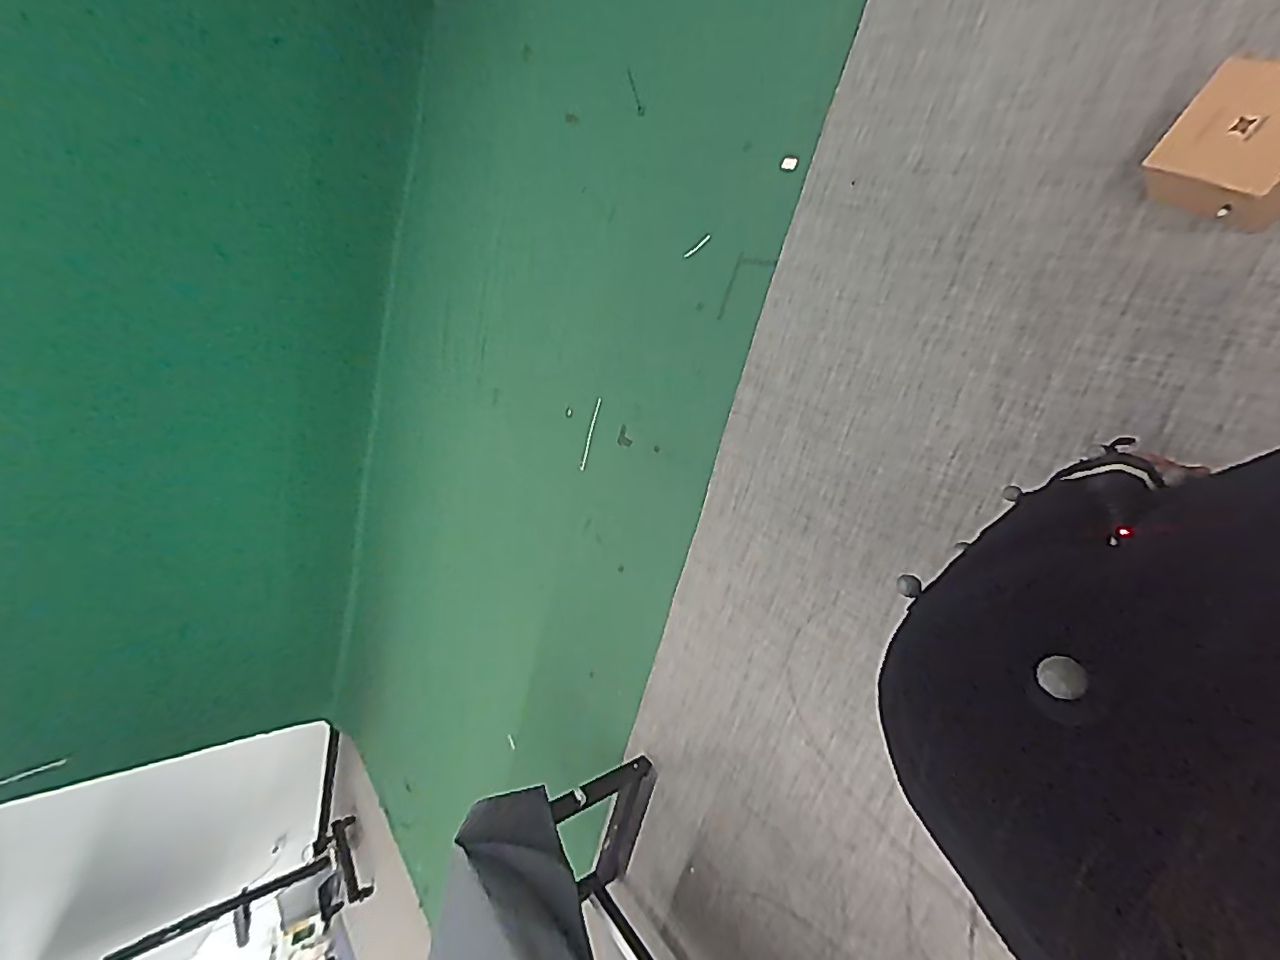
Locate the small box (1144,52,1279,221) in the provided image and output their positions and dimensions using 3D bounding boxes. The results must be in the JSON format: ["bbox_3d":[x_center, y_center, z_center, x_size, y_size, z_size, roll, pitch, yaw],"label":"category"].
[{"bbox_3d":[0.979,-0.541,0.868,0.179,0.176,0.168,50,123,38],"label":"small box"}]
